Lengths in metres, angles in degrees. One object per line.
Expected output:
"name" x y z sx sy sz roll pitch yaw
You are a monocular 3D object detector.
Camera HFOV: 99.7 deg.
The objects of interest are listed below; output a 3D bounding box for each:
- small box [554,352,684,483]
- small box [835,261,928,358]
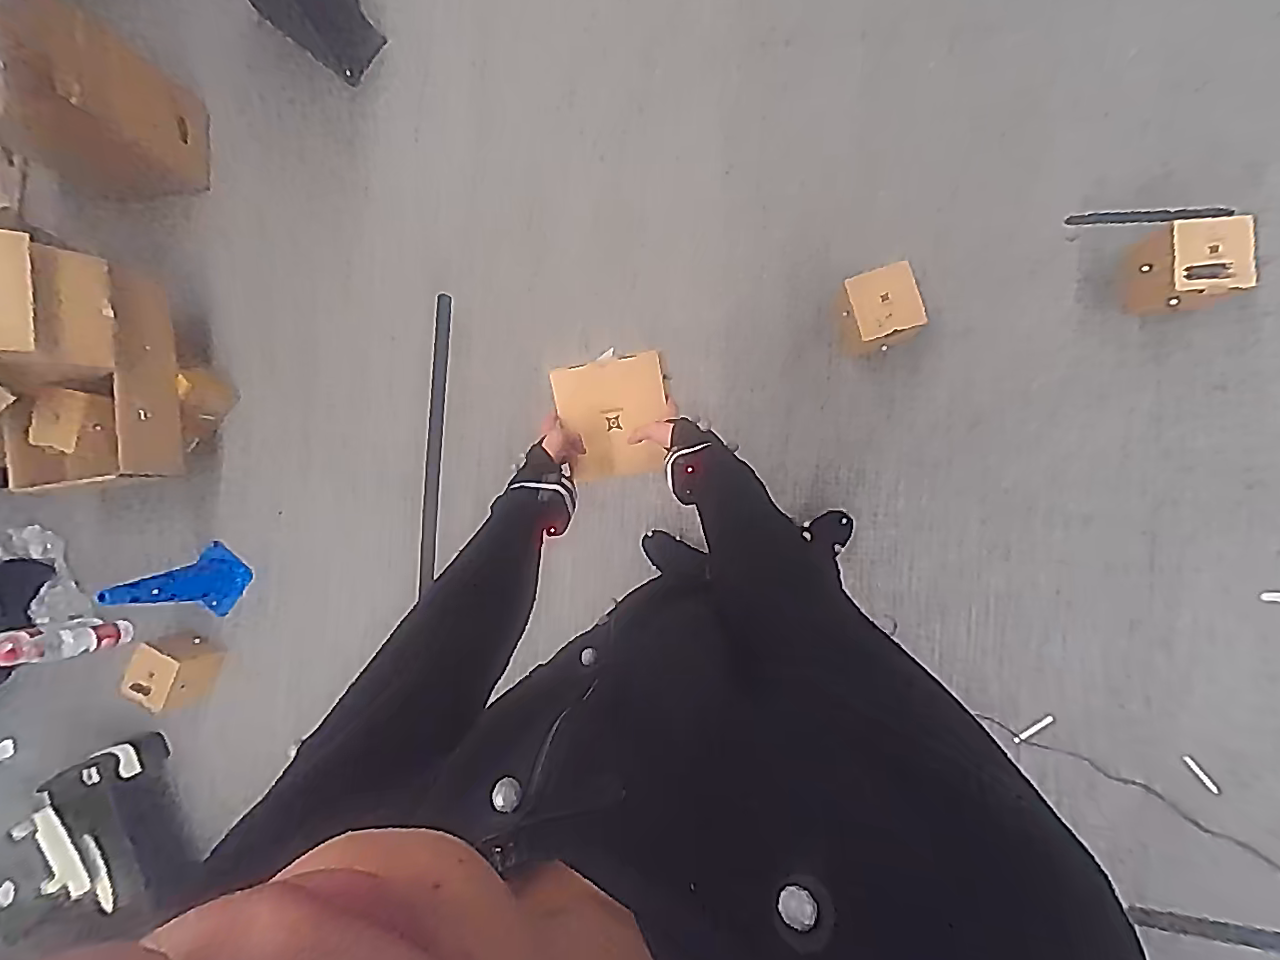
"small box" -0.023 -0.107 0.873 0.168 0.176 0.179 -8 102 8
"small box" 0.645 -0.454 1.468 0.168 0.176 0.179 -17 86 9
